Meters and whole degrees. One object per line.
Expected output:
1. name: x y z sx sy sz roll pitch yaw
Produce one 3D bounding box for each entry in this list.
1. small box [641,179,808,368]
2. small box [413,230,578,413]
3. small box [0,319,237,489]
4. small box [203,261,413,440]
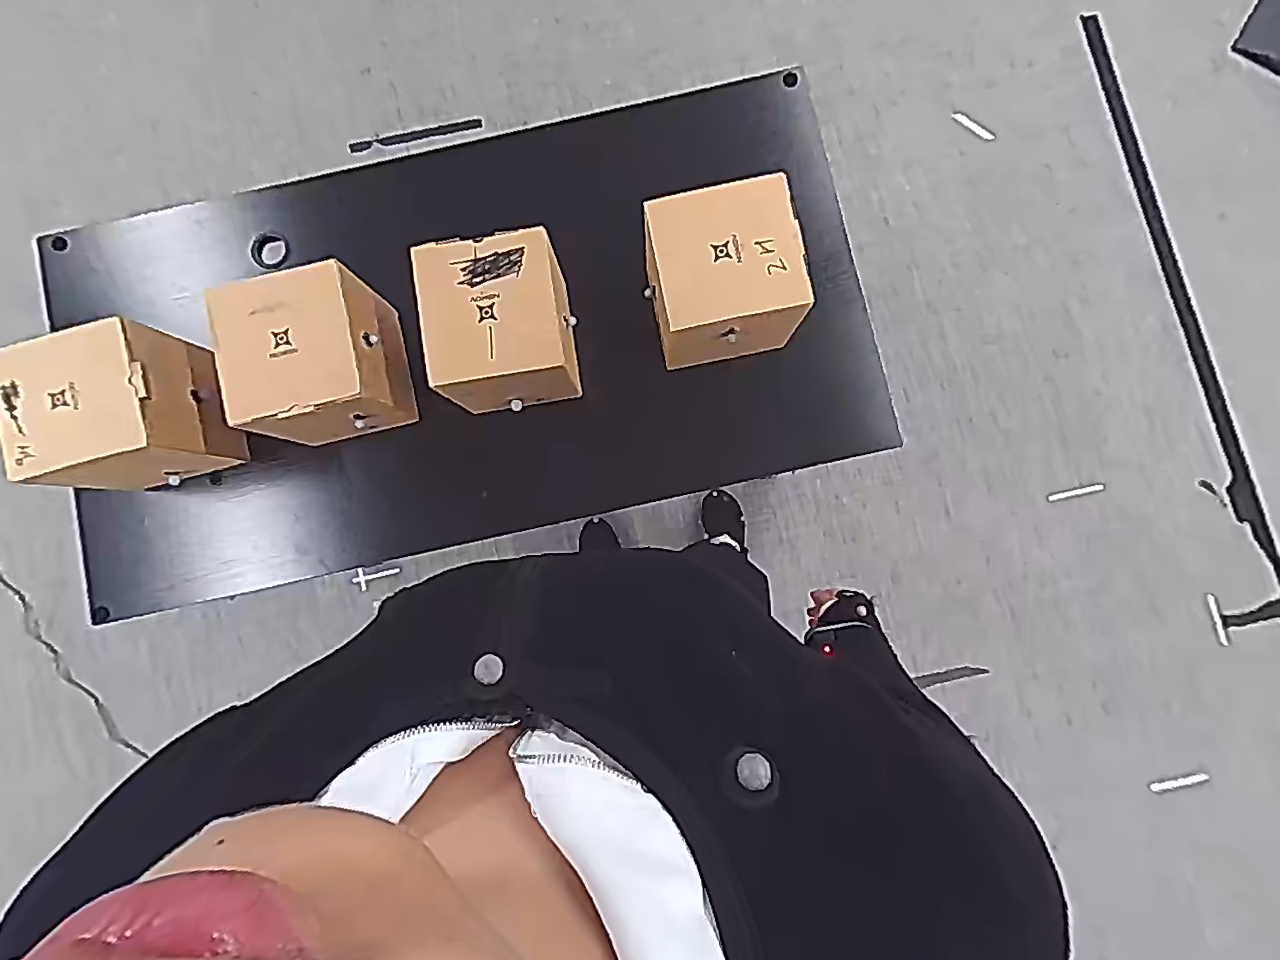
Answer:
1. small box: 0.103 -0.262 0.725 0.179 0.176 0.168 -11 86 0
2. small box: -0.181 -0.200 0.724 0.168 0.176 0.179 -9 86 0
3. small box: -0.681 -0.090 0.721 0.179 0.176 0.168 -15 85 -2
4. small box: -0.428 -0.157 0.725 0.168 0.176 0.179 -14 85 -1
